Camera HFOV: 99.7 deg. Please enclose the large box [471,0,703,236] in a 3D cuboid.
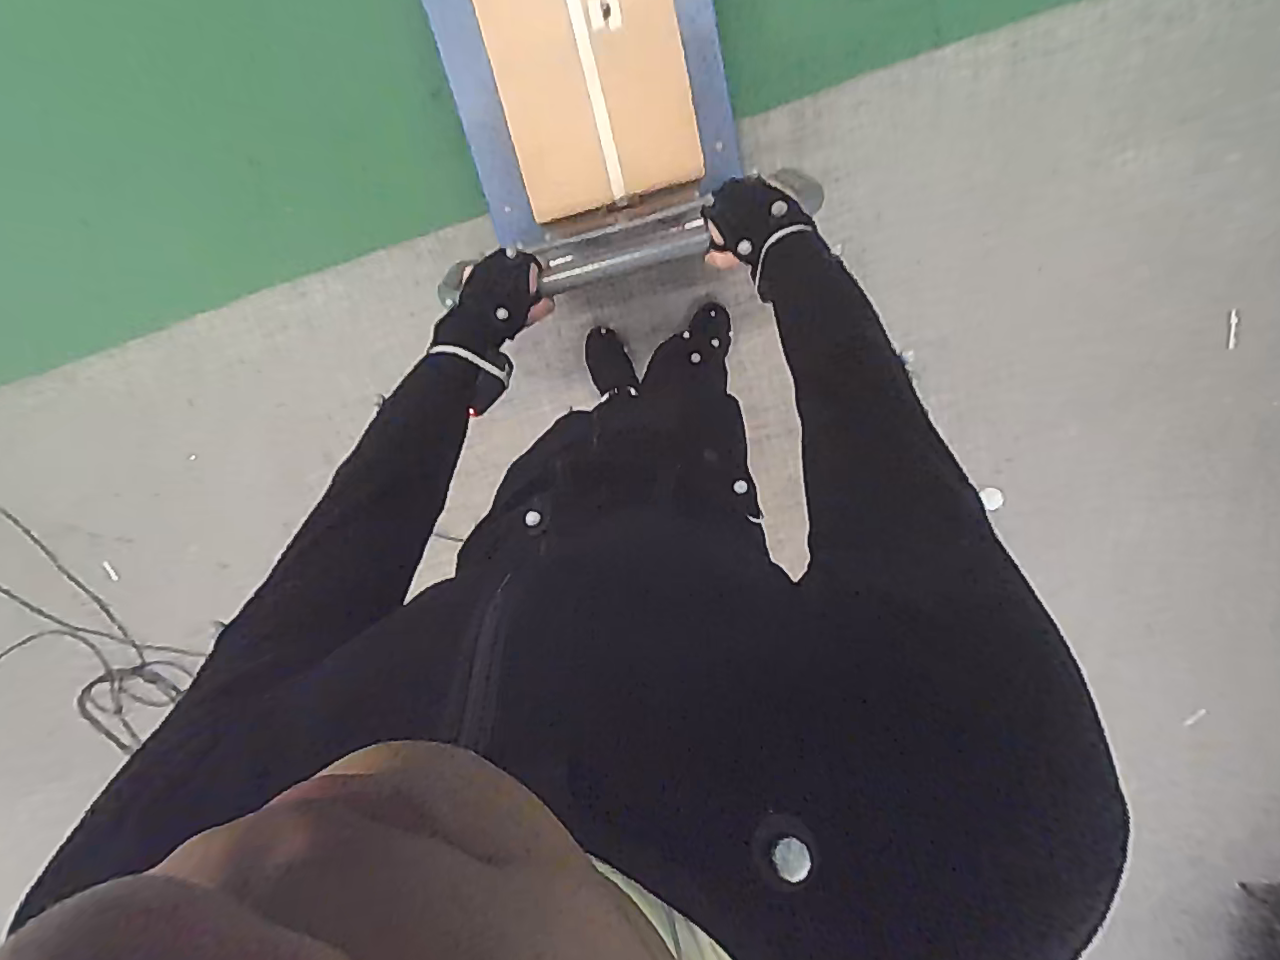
[{"bbox_3d":[-0.081,-0.728,1.035,0.320,0.320,0.408,-13,109,6],"label":"large box"}]
